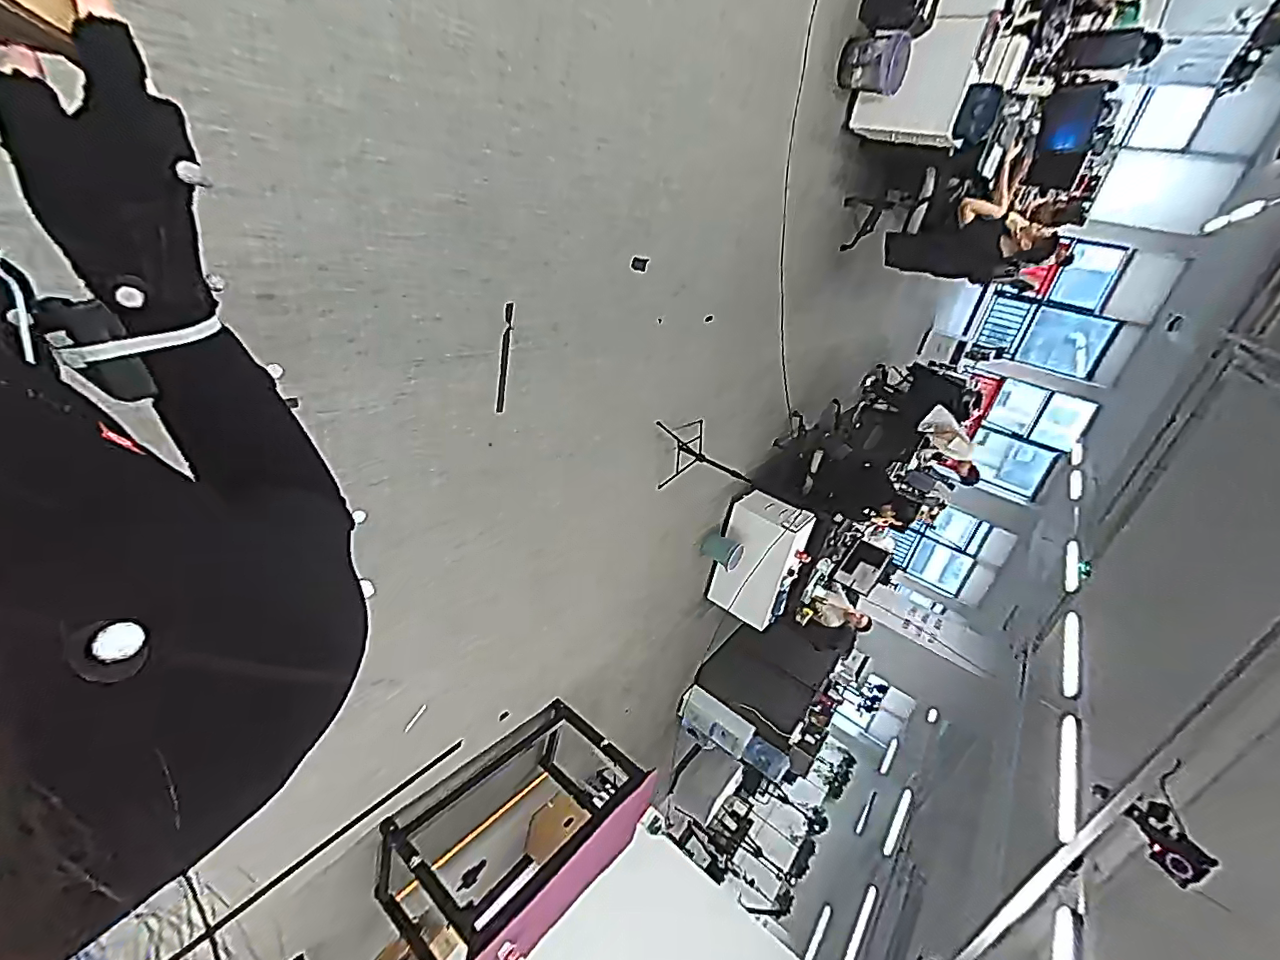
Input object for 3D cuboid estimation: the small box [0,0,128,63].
[{"bbox_3d":[-0.357,-0.316,0.210,0.179,0.168,0.176,-53,154,-82],"label":"small box"}]
